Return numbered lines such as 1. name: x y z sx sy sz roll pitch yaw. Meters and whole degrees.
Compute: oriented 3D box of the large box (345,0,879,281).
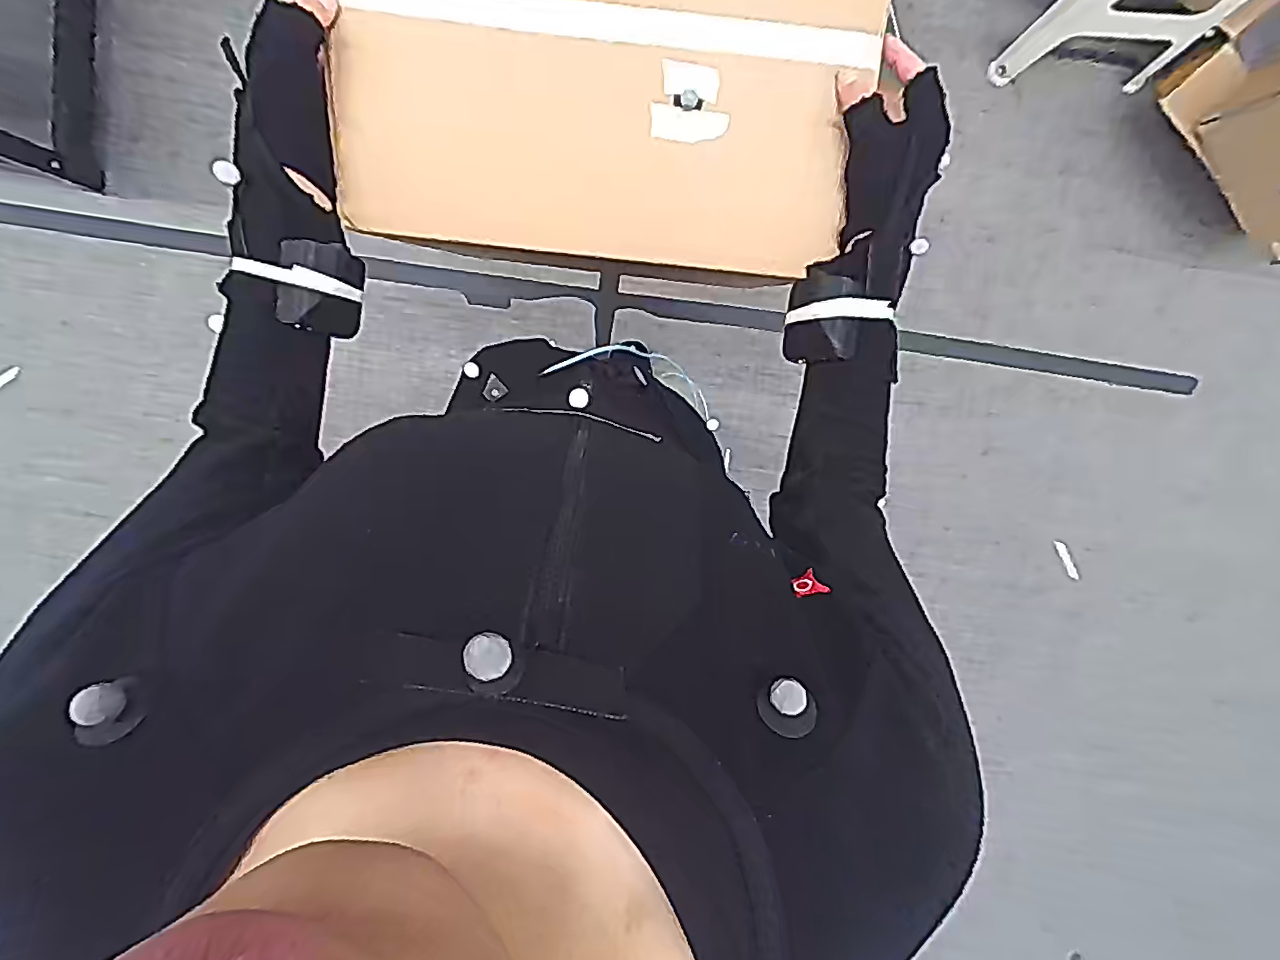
1. large box: -0.025 -0.386 0.548 0.408 0.320 0.320 5 109 -3
